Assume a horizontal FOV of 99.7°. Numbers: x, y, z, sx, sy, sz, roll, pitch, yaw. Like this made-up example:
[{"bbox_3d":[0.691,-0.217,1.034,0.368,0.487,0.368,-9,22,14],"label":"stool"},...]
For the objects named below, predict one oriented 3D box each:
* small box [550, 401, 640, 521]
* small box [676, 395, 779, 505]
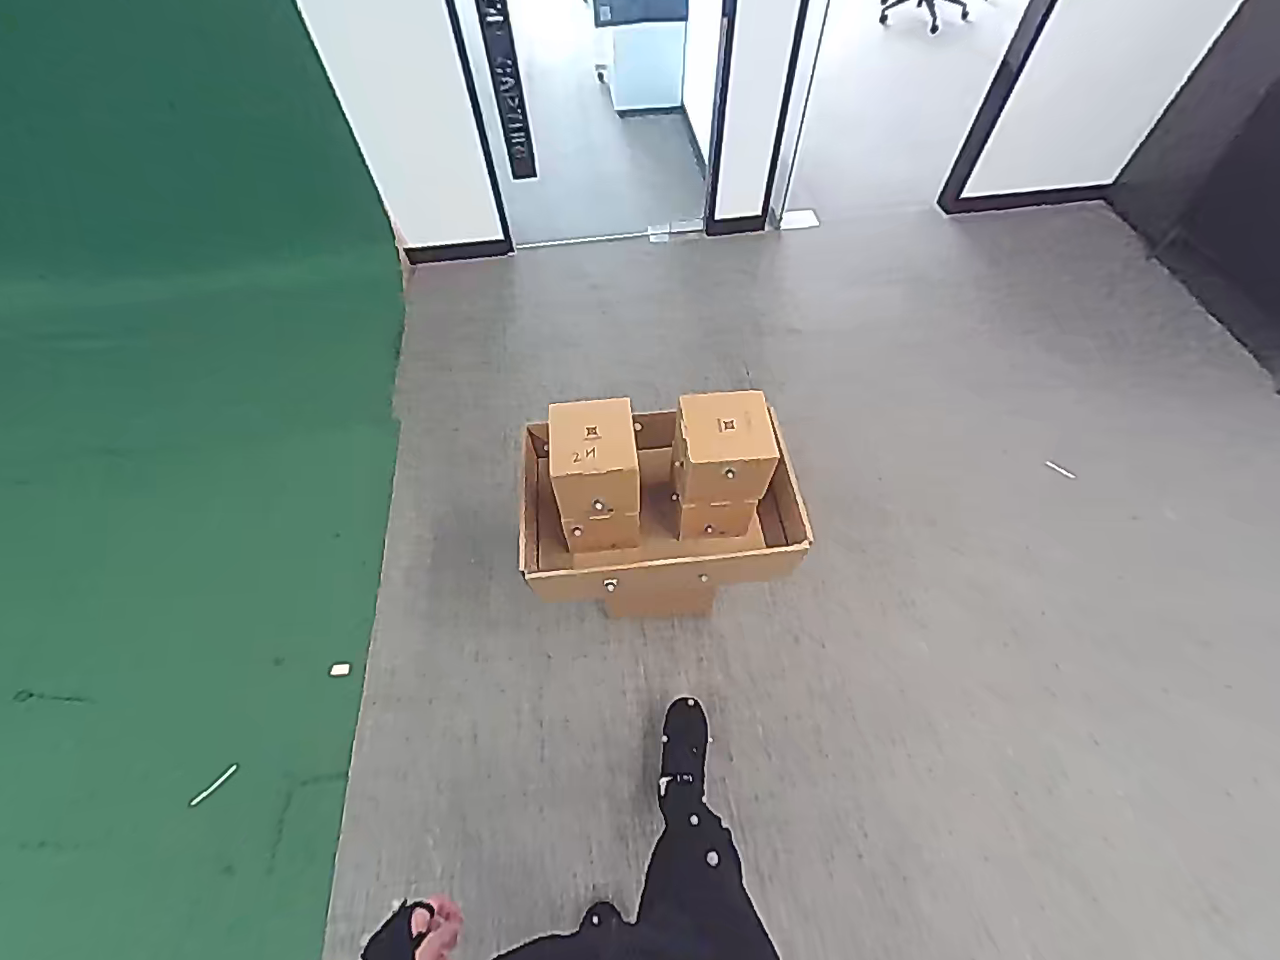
[{"bbox_3d":[-0.091,-0.037,1.099,0.168,0.176,0.179,-5,57,-3],"label":"small box"},{"bbox_3d":[0.169,-0.057,1.116,0.179,0.176,0.168,-3,59,-3],"label":"small box"}]
